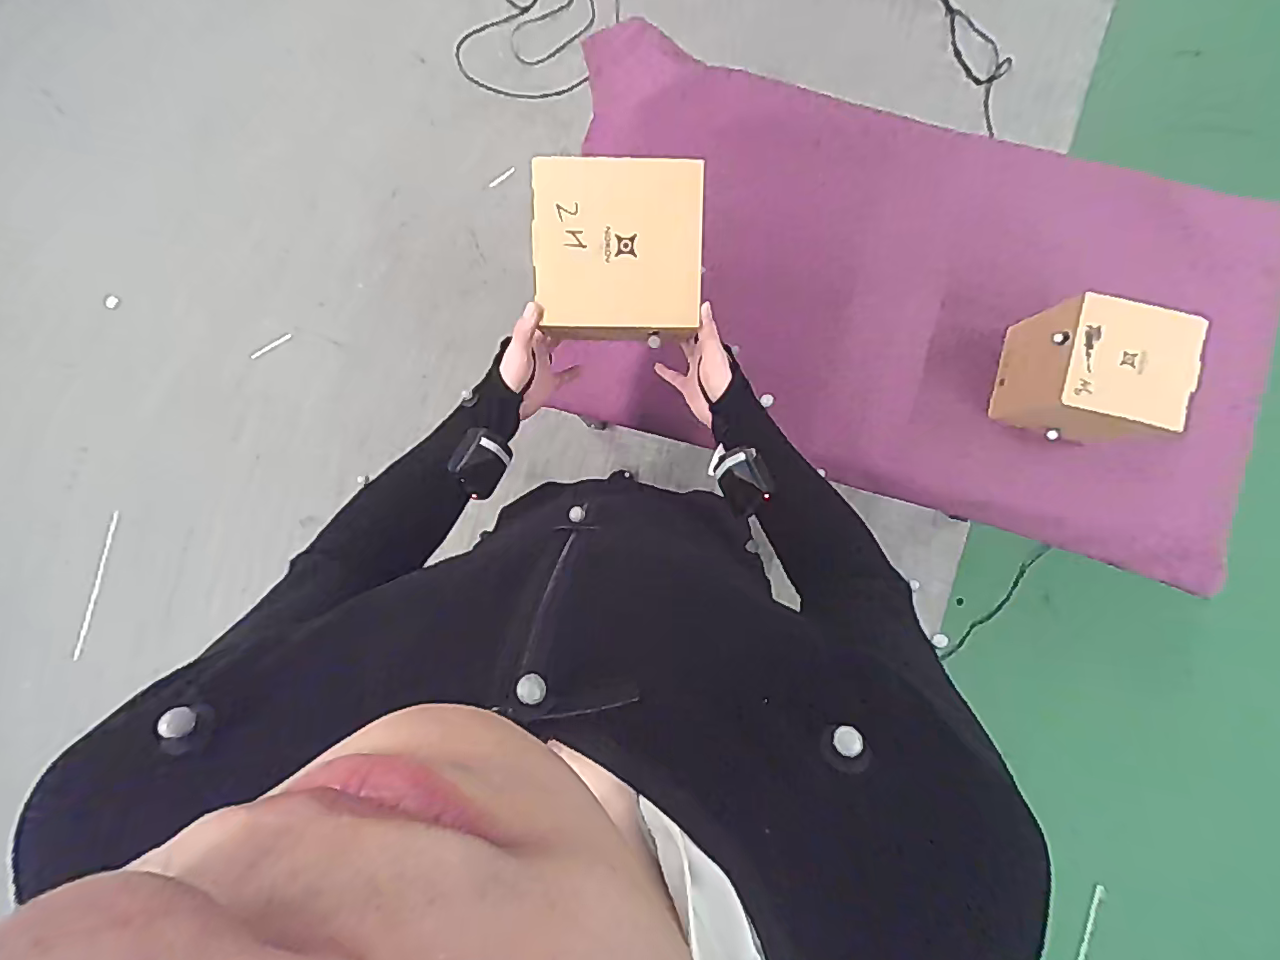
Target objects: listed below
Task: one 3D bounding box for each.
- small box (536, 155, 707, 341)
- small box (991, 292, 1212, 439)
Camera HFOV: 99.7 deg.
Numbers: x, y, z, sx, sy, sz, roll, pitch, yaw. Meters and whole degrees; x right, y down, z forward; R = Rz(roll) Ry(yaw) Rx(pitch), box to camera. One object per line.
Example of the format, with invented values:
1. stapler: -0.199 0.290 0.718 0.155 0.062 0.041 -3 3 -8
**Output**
1. small box: -0.022 -0.257 0.636 0.179 0.176 0.168 1 99 0
2. small box: 0.692 -0.163 0.831 0.179 0.176 0.168 15 89 2
